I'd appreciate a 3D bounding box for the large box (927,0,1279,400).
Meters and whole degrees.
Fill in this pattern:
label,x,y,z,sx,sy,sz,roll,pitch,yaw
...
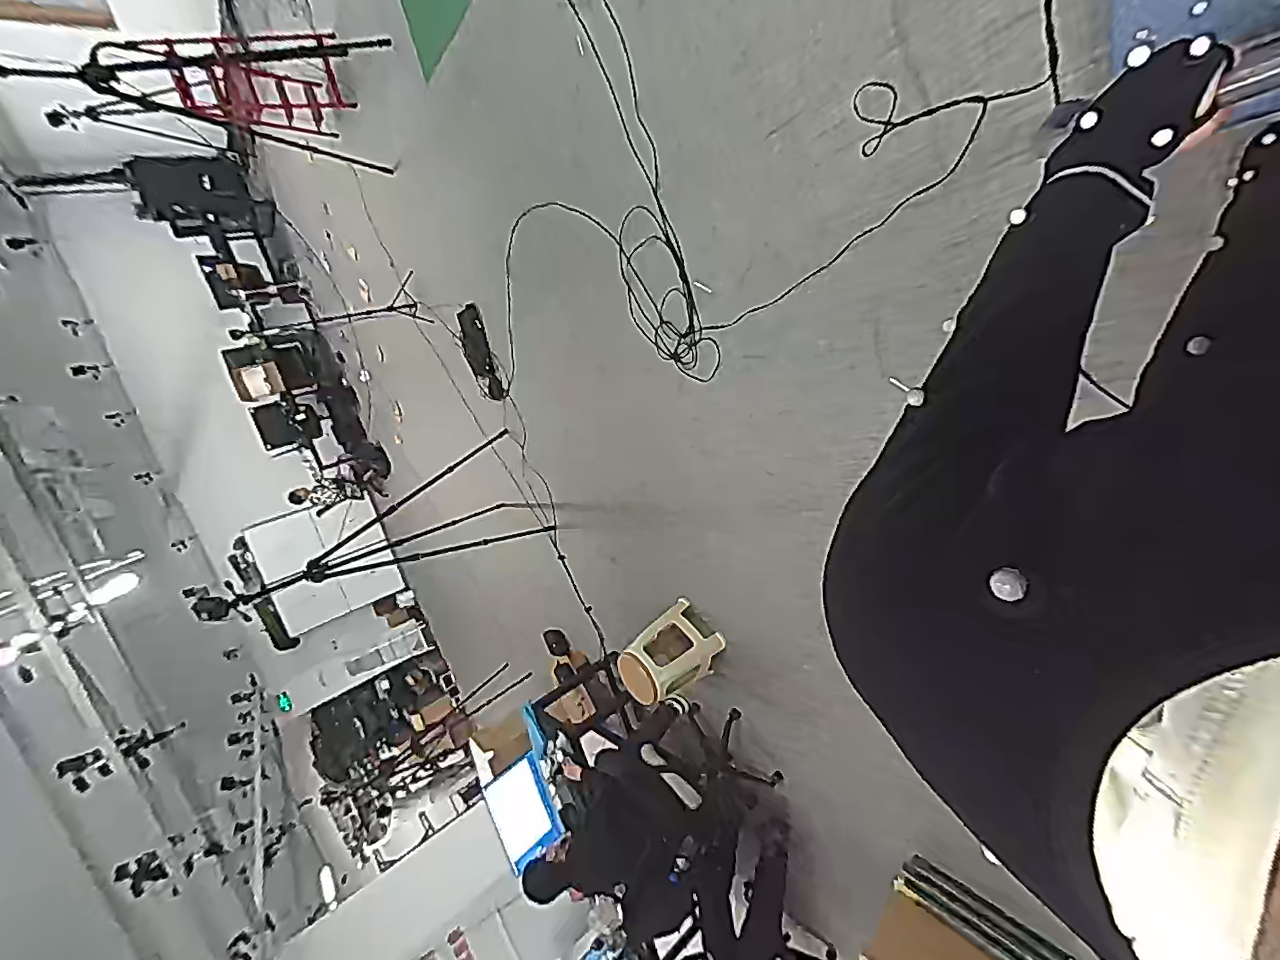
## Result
label,x,y,z,sx,sy,sz,roll,pitch,yaw
large box,0.422,-0.246,0.267,0.408,0.320,0.320,166,109,-75
